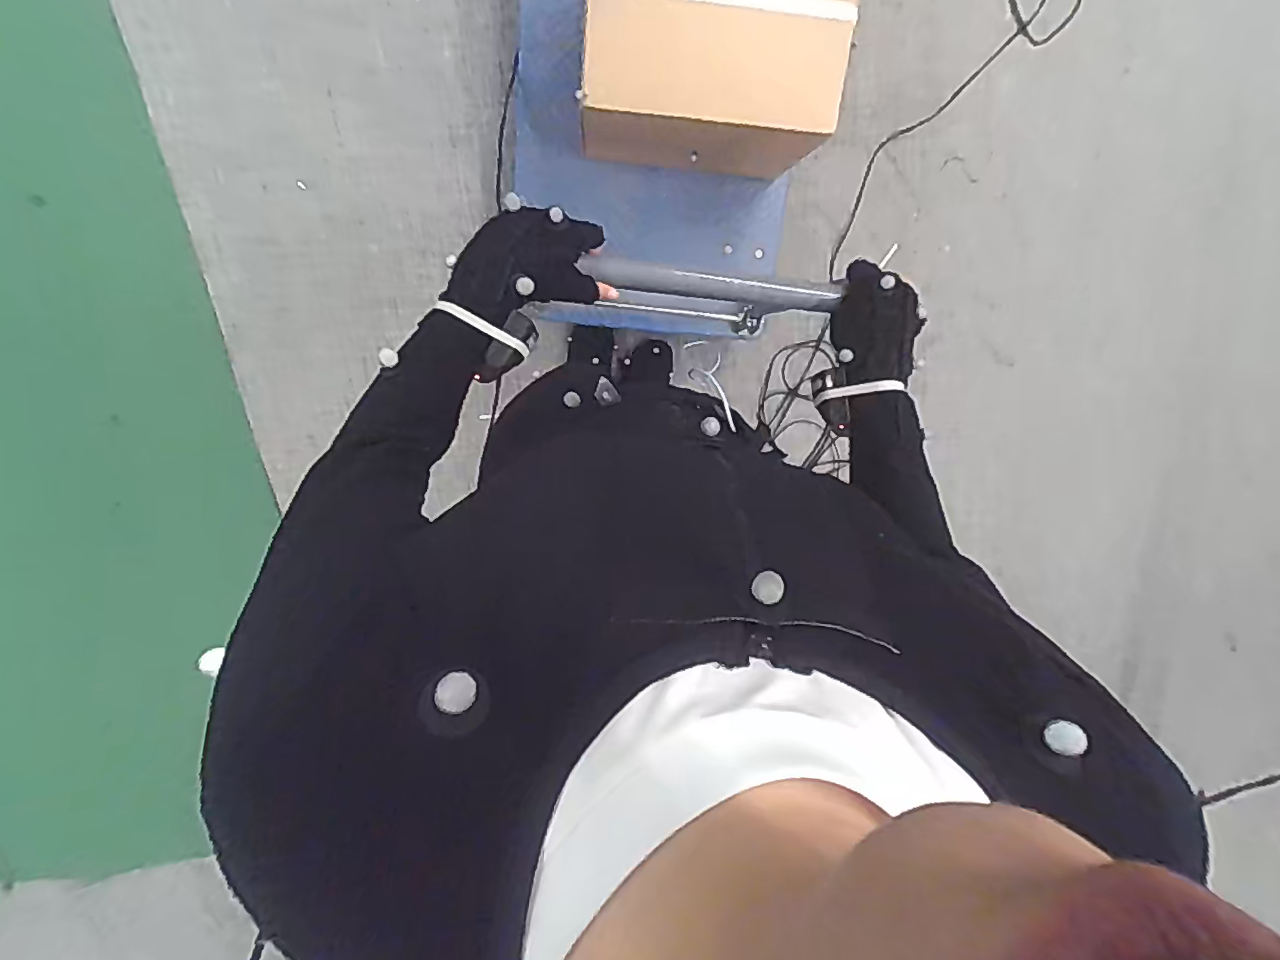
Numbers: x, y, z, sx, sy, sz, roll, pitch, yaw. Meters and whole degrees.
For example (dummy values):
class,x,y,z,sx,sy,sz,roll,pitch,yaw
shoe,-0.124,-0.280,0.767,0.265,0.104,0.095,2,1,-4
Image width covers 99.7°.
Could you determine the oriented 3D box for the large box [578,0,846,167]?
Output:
class,x,y,z,sx,sy,sz,roll,pitch,yaw
large box,0.105,-0.765,0.944,0.408,0.320,0.320,3,107,-5
